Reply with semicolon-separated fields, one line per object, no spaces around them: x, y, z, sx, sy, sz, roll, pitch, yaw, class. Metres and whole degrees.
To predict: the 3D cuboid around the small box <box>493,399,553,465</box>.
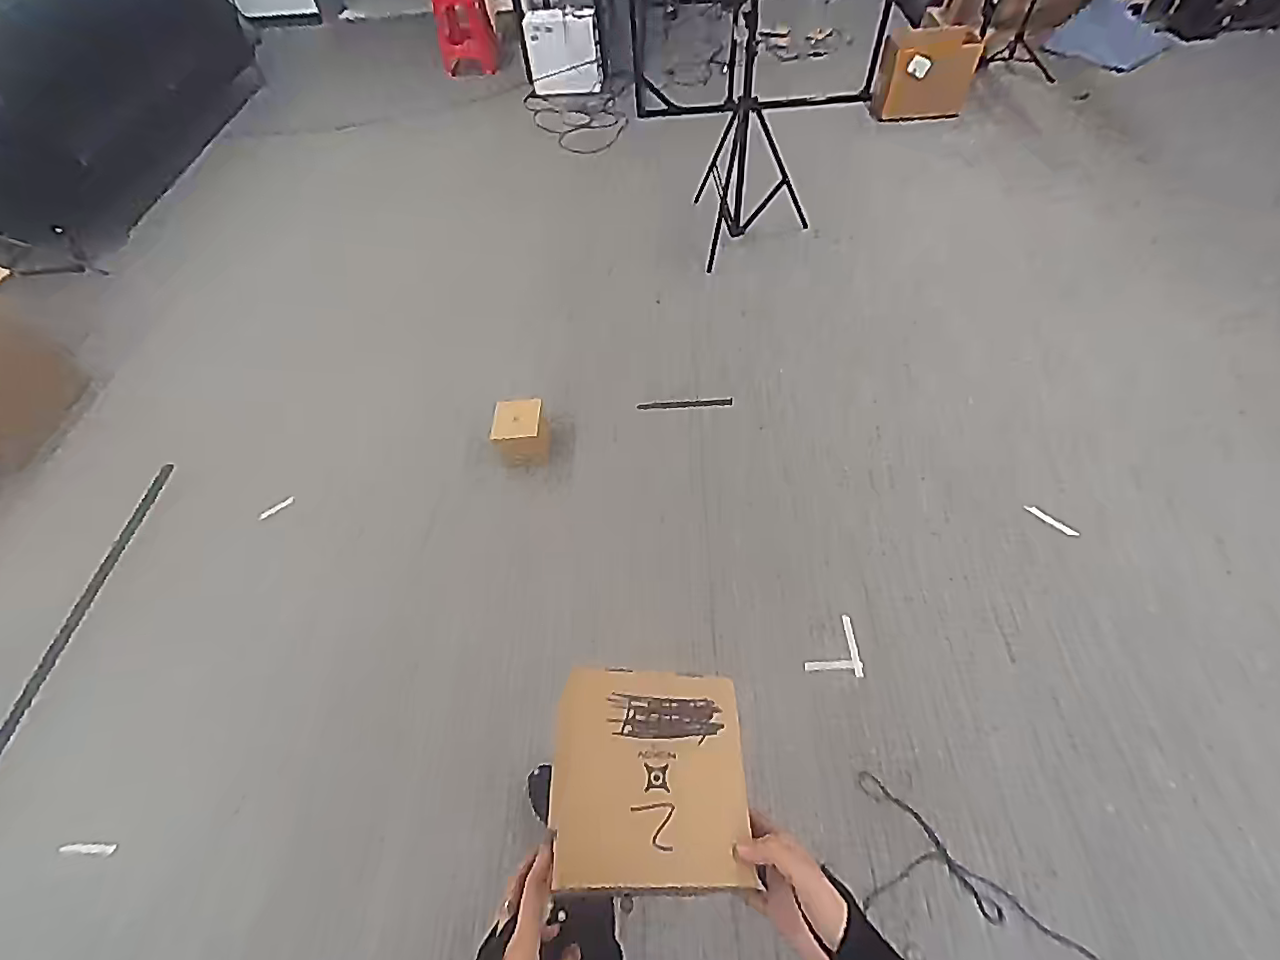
-0.417;-0.172;1.954;0.168;0.176;0.179;-3;55;4;small box
